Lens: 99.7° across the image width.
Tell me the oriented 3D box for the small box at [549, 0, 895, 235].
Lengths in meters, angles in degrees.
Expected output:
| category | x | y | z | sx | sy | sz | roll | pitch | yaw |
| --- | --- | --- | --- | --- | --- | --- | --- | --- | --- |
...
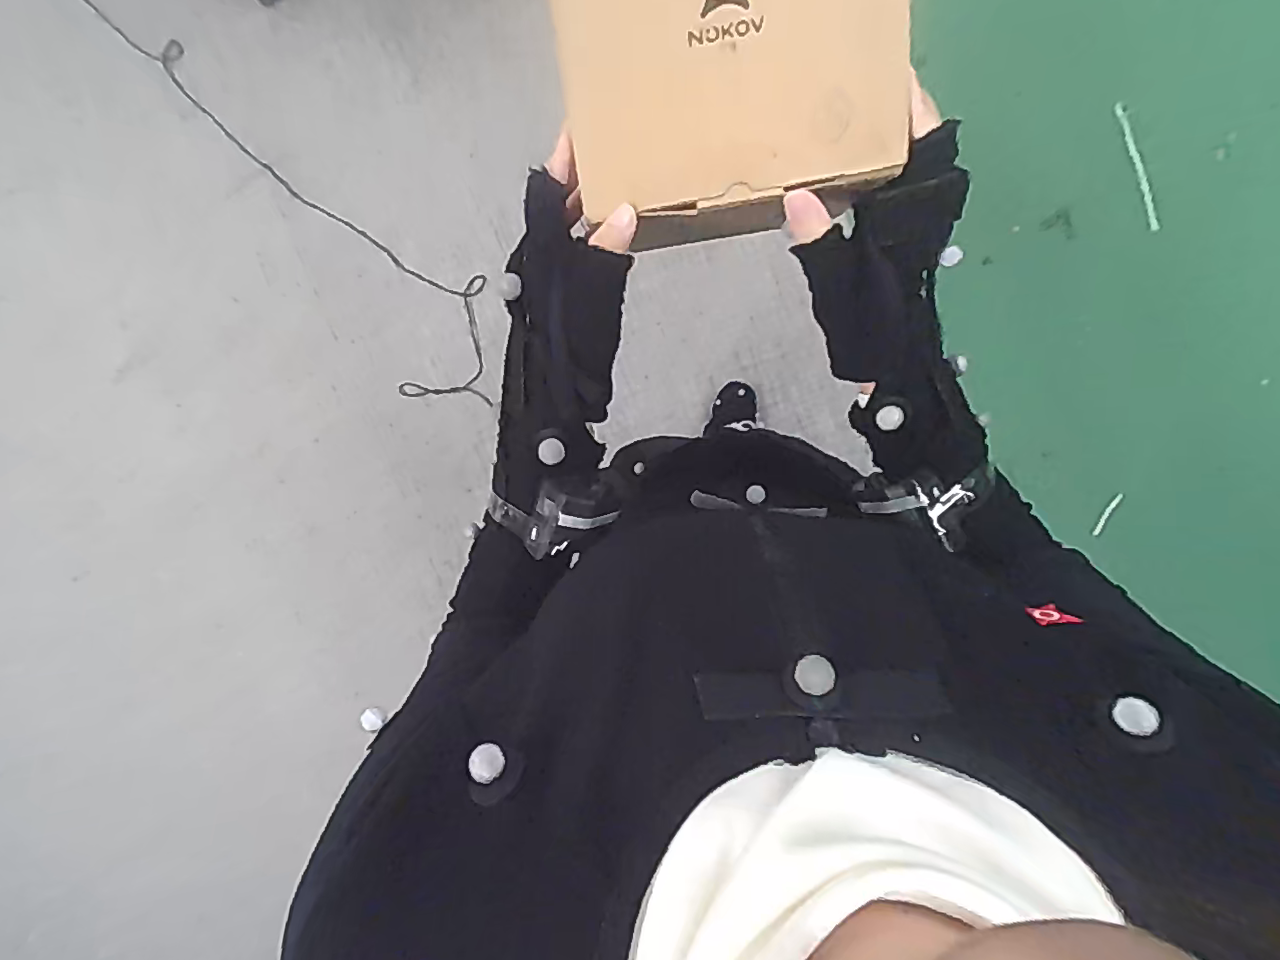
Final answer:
| category | x | y | z | sx | sy | sz | roll | pitch | yaw |
| --- | --- | --- | --- | --- | --- | --- | --- | --- | --- |
| small box | 0.046 | -0.259 | 0.333 | 0.168 | 0.176 | 0.179 | -6 | 106 | 9 |
